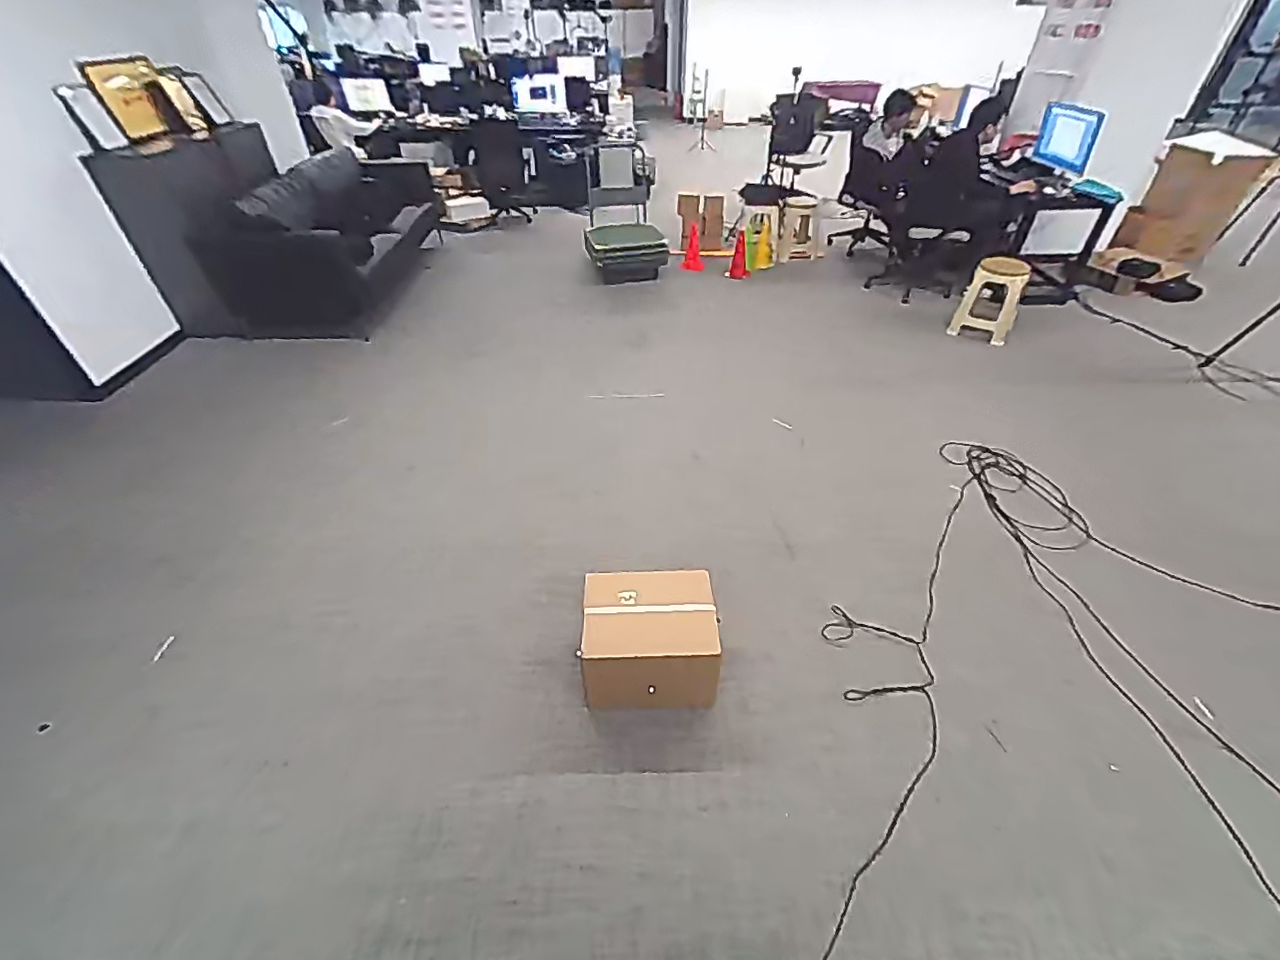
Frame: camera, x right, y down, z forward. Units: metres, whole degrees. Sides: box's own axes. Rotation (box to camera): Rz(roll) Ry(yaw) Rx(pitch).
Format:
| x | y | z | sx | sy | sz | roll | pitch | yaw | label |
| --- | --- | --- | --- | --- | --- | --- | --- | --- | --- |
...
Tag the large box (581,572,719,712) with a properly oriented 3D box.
| x | y | z | sx | sy | sz | roll | pitch | yaw | label |
| --- | --- | --- | --- | --- | --- | --- | --- | --- | --- |
| 0.026 | 0.525 | 1.753 | 0.408 | 0.320 | 0.320 | -3 | 39 | -1 | large box |
